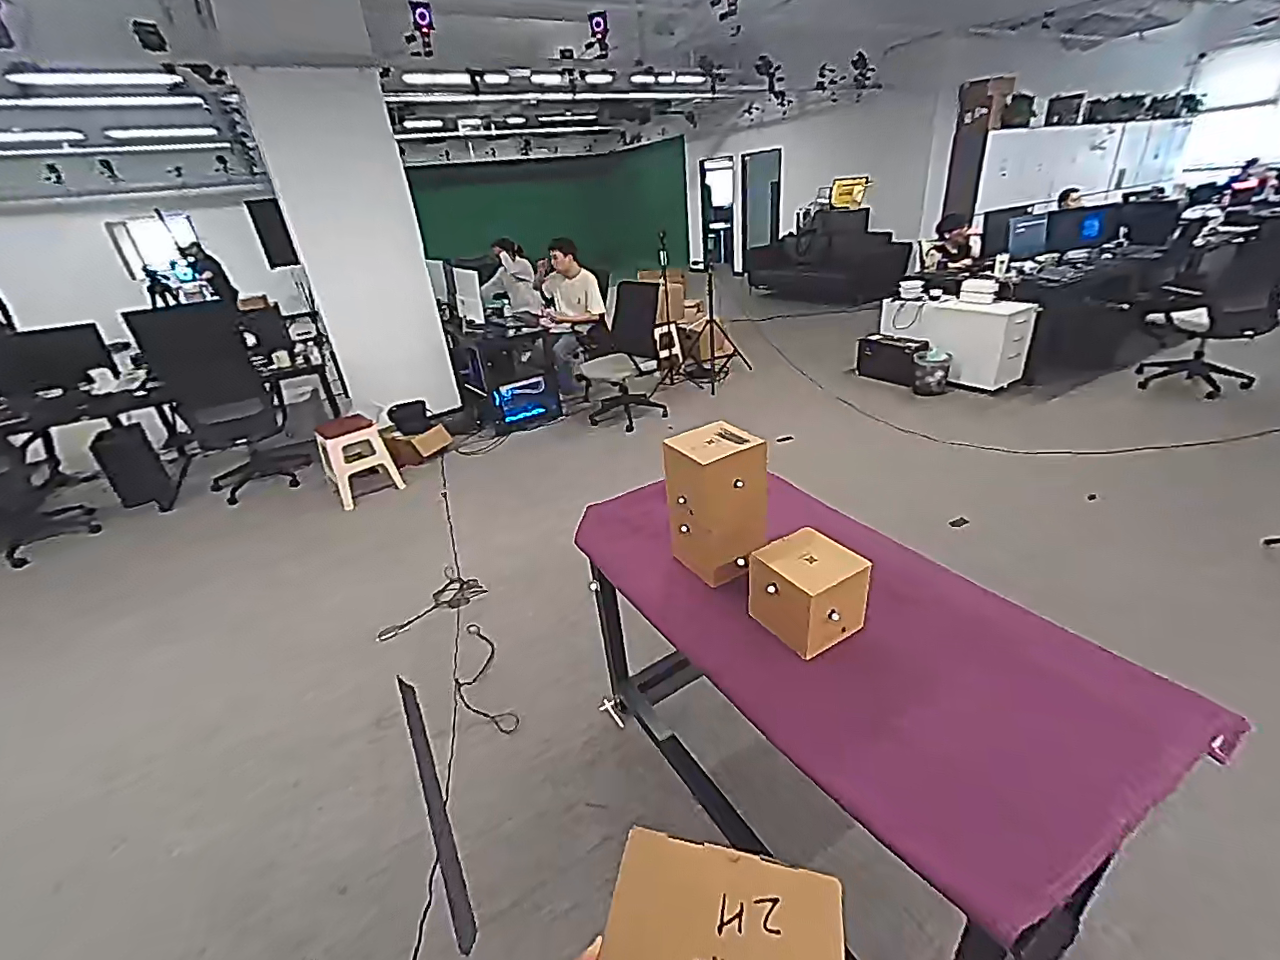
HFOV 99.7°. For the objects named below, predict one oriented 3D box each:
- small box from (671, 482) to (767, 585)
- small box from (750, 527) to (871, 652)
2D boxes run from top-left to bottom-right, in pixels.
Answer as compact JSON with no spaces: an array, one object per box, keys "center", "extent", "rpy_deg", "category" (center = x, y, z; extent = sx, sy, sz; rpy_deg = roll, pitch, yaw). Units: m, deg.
[{"center":[0.193,0.130,1.341],"extent":[0.168,0.176,0.179],"rpy_deg":[-21,32,-25],"category":"small box"},{"center":[0.348,0.229,1.123],"extent":[0.168,0.176,0.179],"rpy_deg":[-20,30,-24],"category":"small box"}]
